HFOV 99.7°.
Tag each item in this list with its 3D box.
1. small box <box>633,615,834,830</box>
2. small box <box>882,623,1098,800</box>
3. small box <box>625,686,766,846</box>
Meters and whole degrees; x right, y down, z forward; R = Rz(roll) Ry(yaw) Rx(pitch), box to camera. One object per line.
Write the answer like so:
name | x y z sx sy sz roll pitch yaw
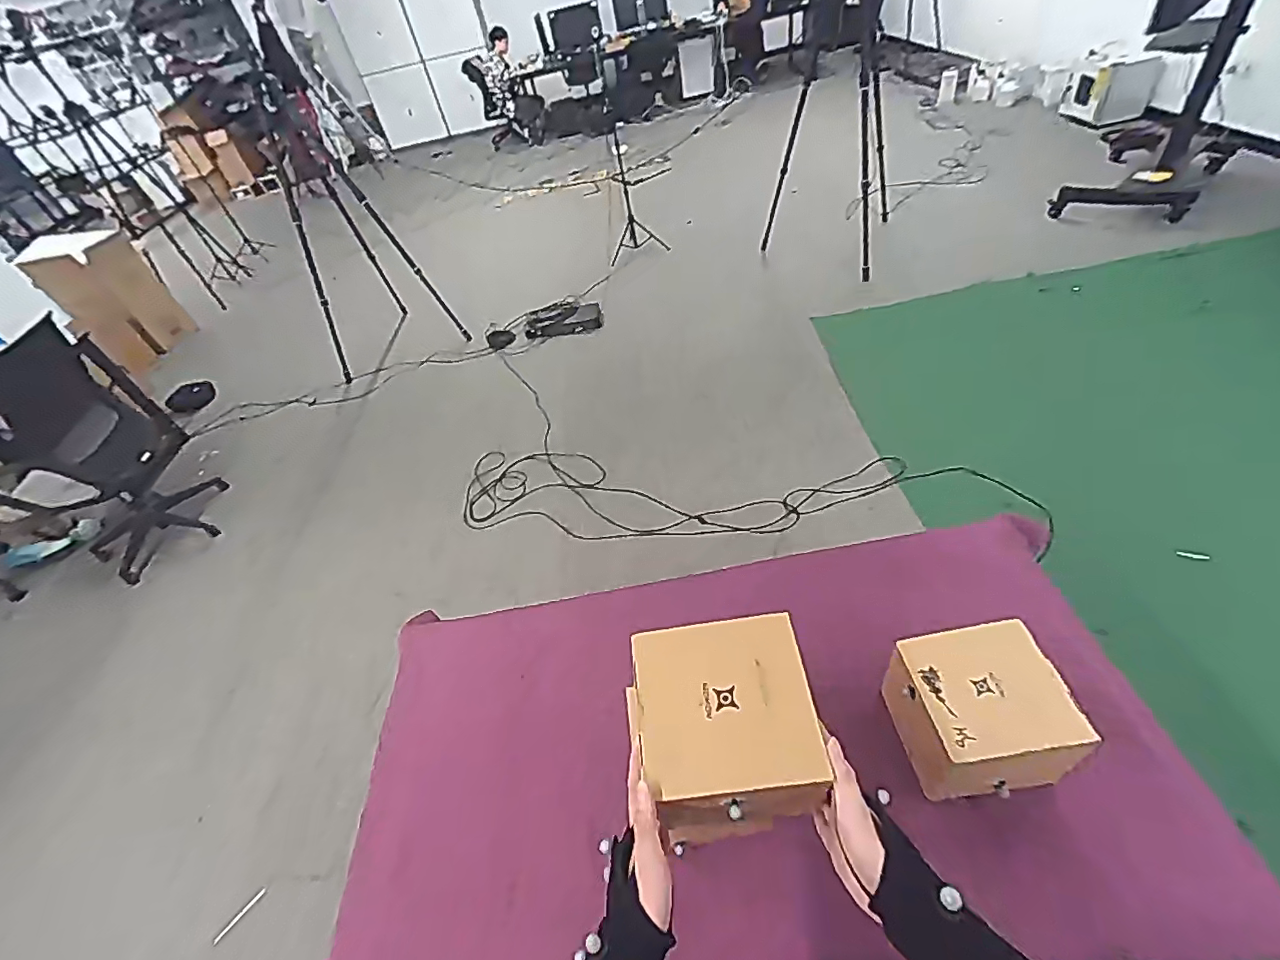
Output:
small box | 0.094 0.269 0.590 0.179 0.176 0.168 -8 49 4
small box | 0.463 0.324 0.753 0.179 0.176 0.168 -11 44 3
small box | 0.080 0.401 0.773 0.168 0.176 0.179 -12 44 2
